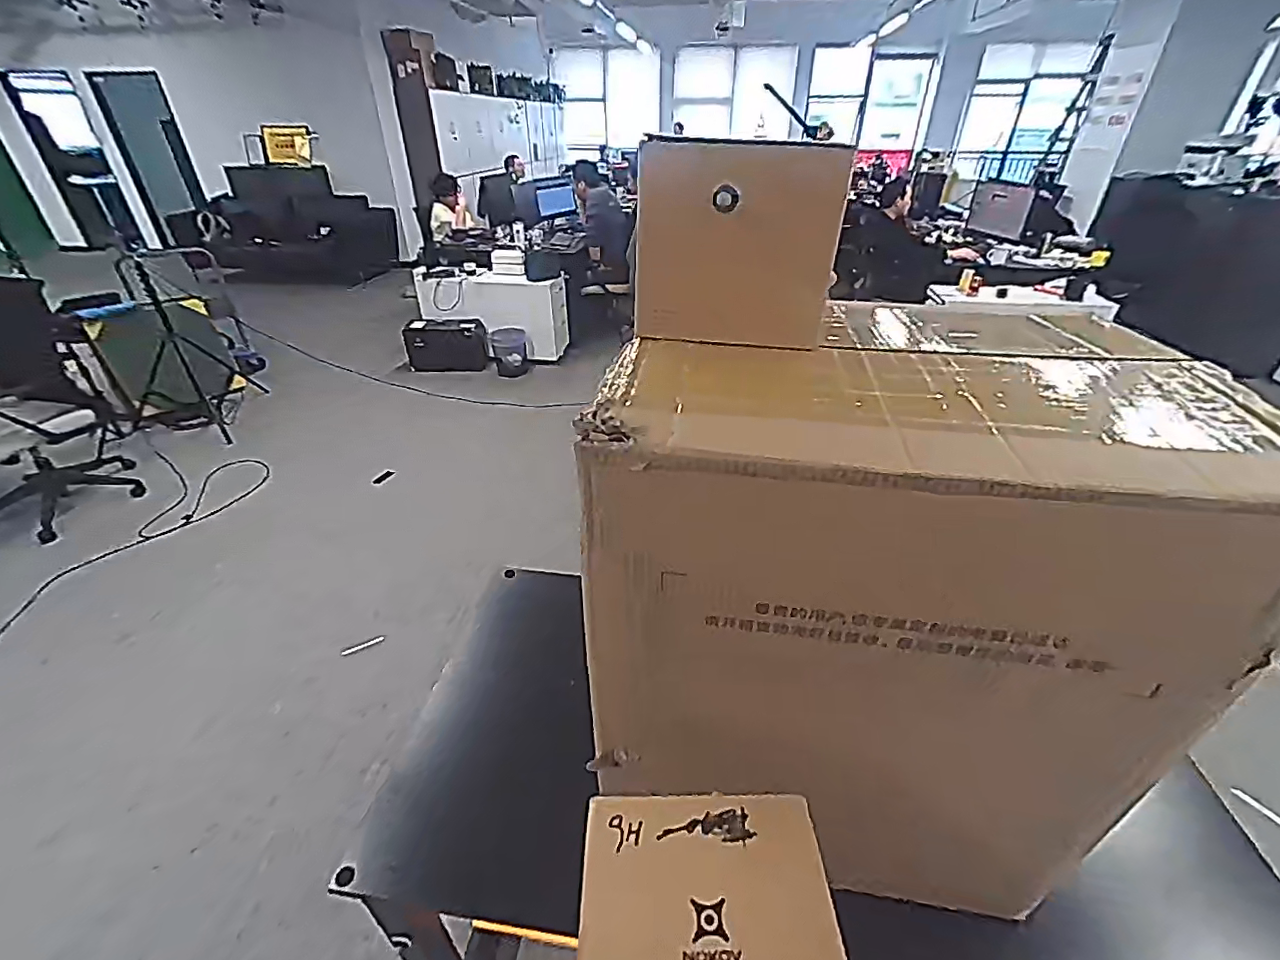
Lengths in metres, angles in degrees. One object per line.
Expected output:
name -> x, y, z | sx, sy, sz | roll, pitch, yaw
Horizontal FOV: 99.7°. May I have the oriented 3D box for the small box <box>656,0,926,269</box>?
small box -> 0.110, -0.283, 0.464 | 0.179, 0.176, 0.168 | 6, 32, 7
